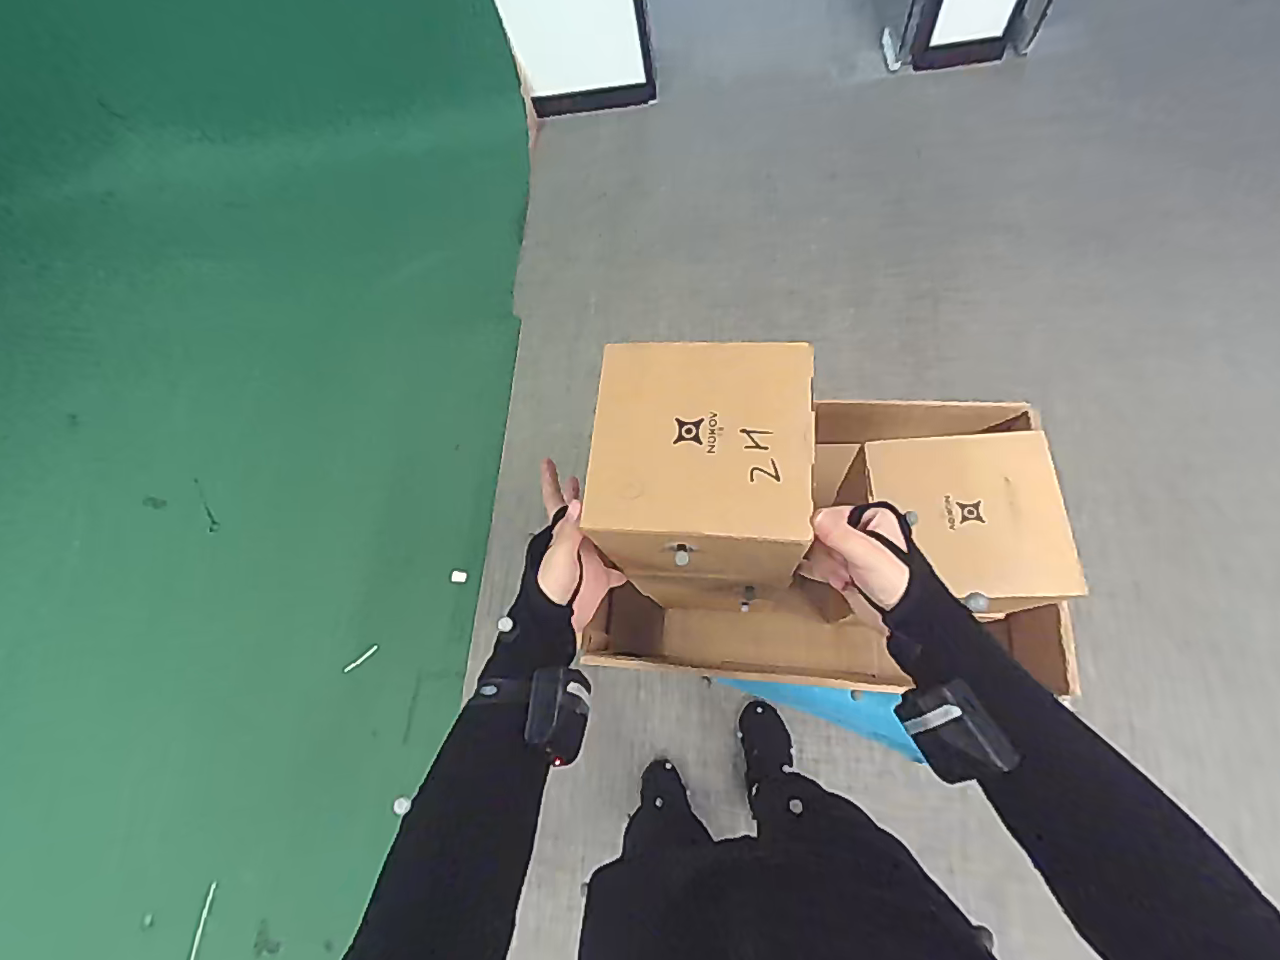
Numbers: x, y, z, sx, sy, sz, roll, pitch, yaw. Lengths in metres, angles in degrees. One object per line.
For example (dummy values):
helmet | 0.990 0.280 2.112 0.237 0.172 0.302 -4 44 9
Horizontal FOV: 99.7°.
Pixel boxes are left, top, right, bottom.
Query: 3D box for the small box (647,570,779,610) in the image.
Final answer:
small box | 0.113 0.101 0.808 0.179 0.176 0.168 1 71 10

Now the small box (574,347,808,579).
small box | 0.055 -0.006 0.502 0.179 0.176 0.168 3 72 10

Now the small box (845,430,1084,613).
small box | 0.332 0.057 0.601 0.179 0.176 0.168 -3 71 10
